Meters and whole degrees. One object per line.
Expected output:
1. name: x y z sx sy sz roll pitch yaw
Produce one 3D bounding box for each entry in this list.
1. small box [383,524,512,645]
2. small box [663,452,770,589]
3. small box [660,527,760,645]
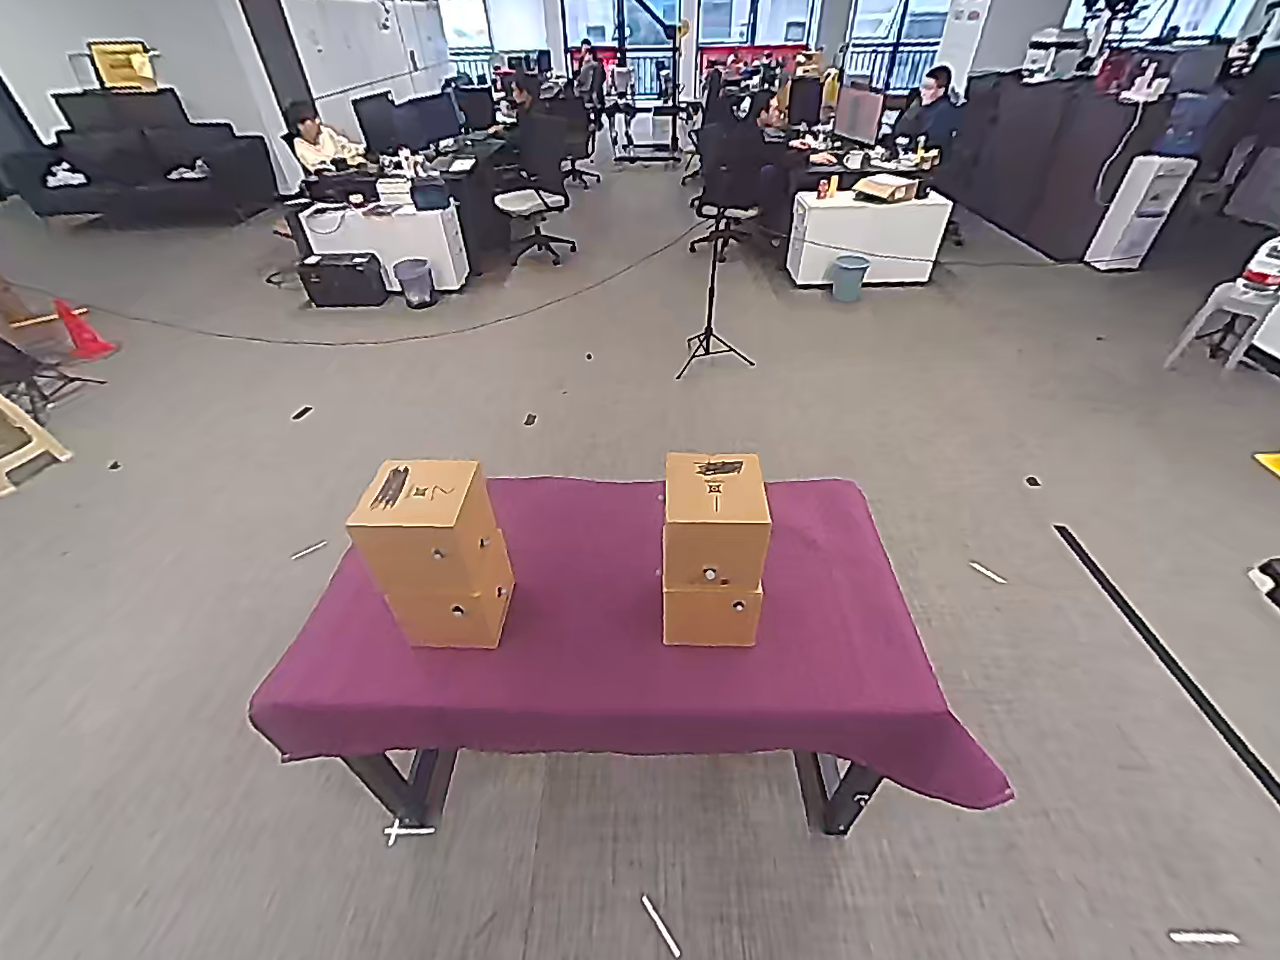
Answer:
1. small box: -0.360 0.205 1.053 0.179 0.176 0.168 1 41 3
2. small box: 0.125 0.071 0.951 0.168 0.176 0.179 1 41 2
3. small box: 0.128 0.203 1.049 0.179 0.176 0.168 1 41 2
